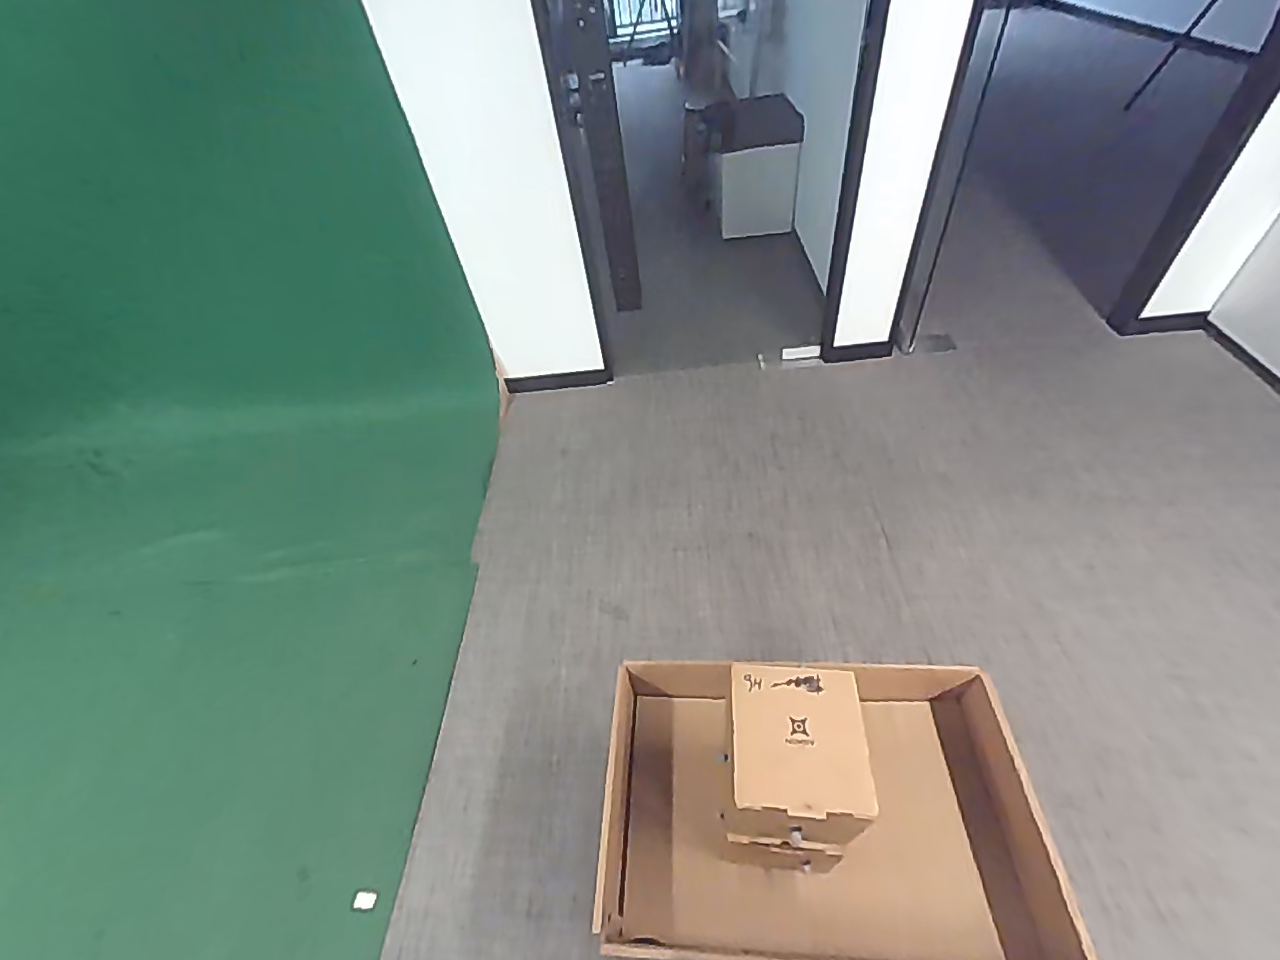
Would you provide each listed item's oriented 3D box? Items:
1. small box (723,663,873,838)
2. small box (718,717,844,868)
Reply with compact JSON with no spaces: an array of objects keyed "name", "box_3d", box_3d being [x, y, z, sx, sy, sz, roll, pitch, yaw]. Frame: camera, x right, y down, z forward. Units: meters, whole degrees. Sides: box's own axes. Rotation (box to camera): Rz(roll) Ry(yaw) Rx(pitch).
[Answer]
[{"name":"small box","box_3d":[0.202,0.372,0.739,0.168,0.176,0.179,2,49,6]},{"name":"small box","box_3d":[0.211,0.490,0.853,0.168,0.176,0.179,2,46,7]}]
